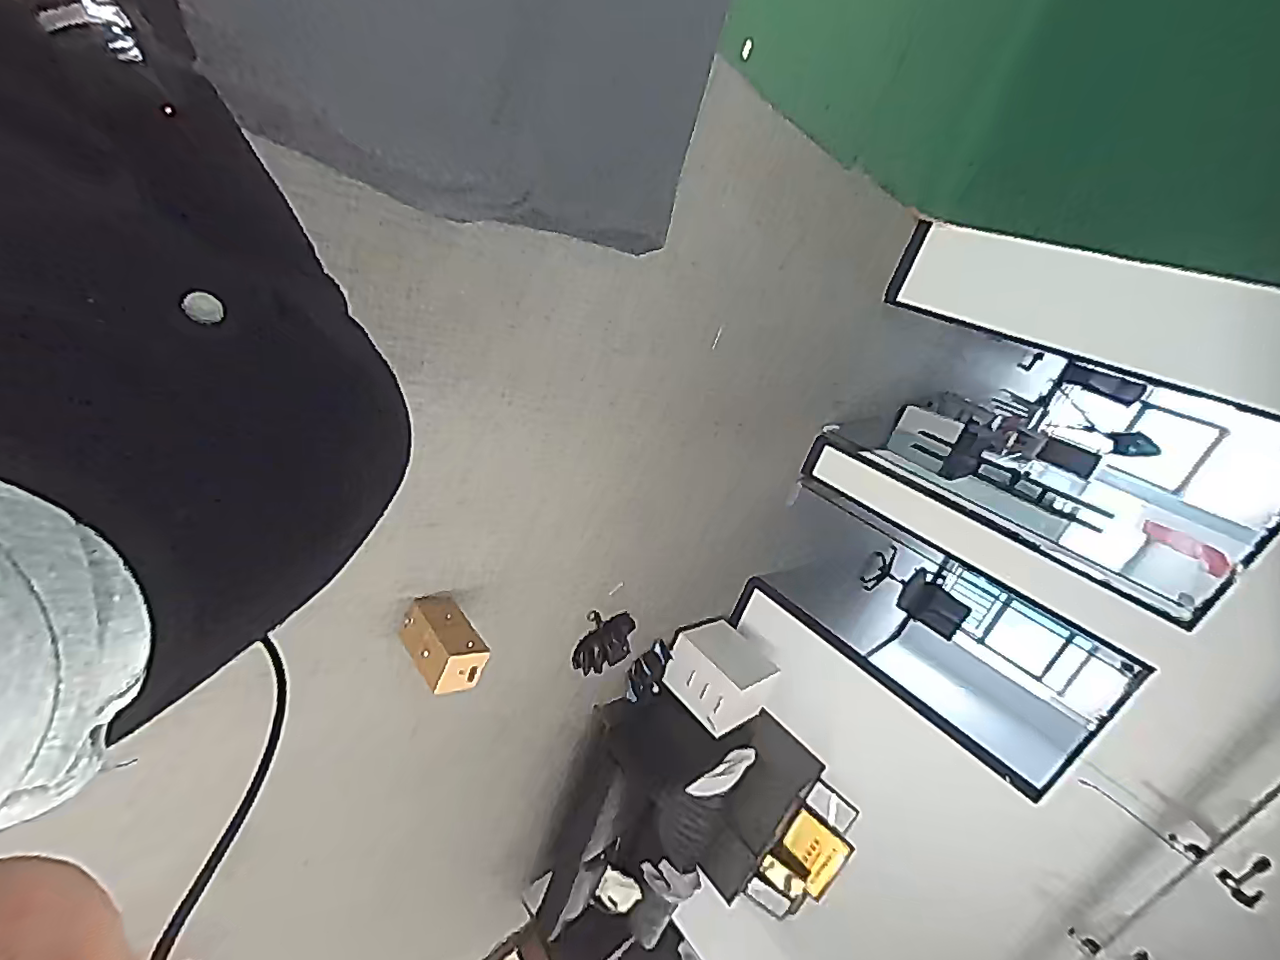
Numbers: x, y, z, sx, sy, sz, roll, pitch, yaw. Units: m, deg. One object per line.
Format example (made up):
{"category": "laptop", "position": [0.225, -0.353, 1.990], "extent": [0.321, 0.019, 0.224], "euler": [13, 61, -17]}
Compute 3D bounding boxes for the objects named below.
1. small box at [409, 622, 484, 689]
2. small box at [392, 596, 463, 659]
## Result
{"category": "small box", "position": [-0.717, 0.642, 2.003], "extent": [0.179, 0.176, 0.168], "euler": [13, 107, -52]}
{"category": "small box", "position": [-0.826, 0.564, 2.099], "extent": [0.179, 0.176, 0.168], "euler": [11, 109, -51]}
